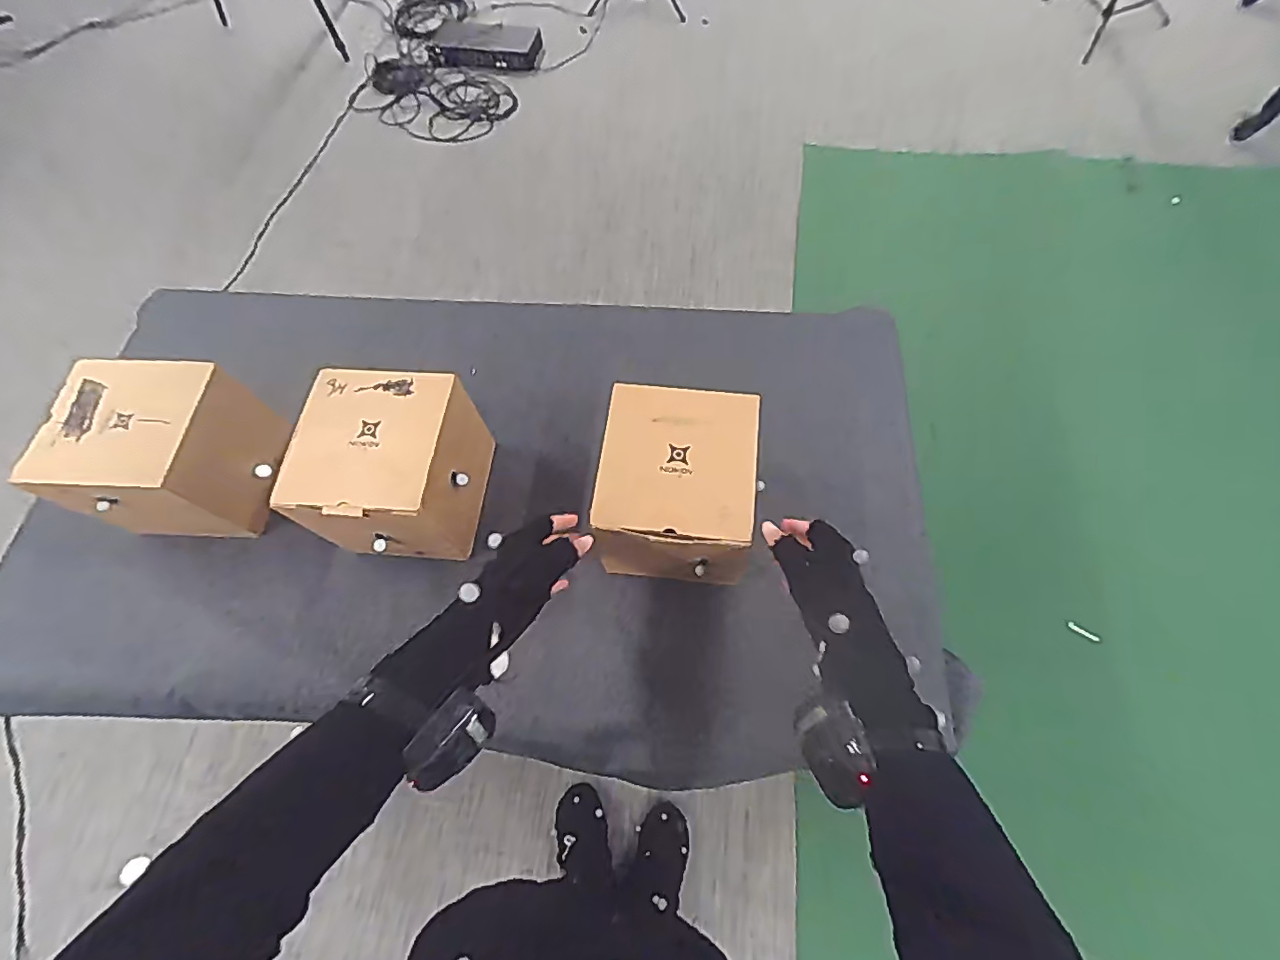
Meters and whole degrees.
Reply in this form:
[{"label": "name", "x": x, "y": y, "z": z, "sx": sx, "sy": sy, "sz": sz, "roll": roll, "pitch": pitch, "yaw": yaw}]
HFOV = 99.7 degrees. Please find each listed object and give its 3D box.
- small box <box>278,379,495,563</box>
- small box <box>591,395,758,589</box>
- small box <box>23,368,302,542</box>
[{"label": "small box", "x": -0.294, "y": -0.003, "z": 0.673, "sx": 0.168, "sy": 0.176, "sz": 0.179, "roll": 3, "pitch": 65, "yaw": 4}, {"label": "small box", "x": 0.043, "y": 0.022, "z": 0.648, "sx": 0.168, "sy": 0.176, "sz": 0.179, "roll": 6, "pitch": 64, "yaw": 4}, {"label": "small box", "x": -0.585, "y": -0.025, "z": 0.694, "sx": 0.179, "sy": 0.176, "sz": 0.168, "roll": 2, "pitch": 65, "yaw": 2}]
